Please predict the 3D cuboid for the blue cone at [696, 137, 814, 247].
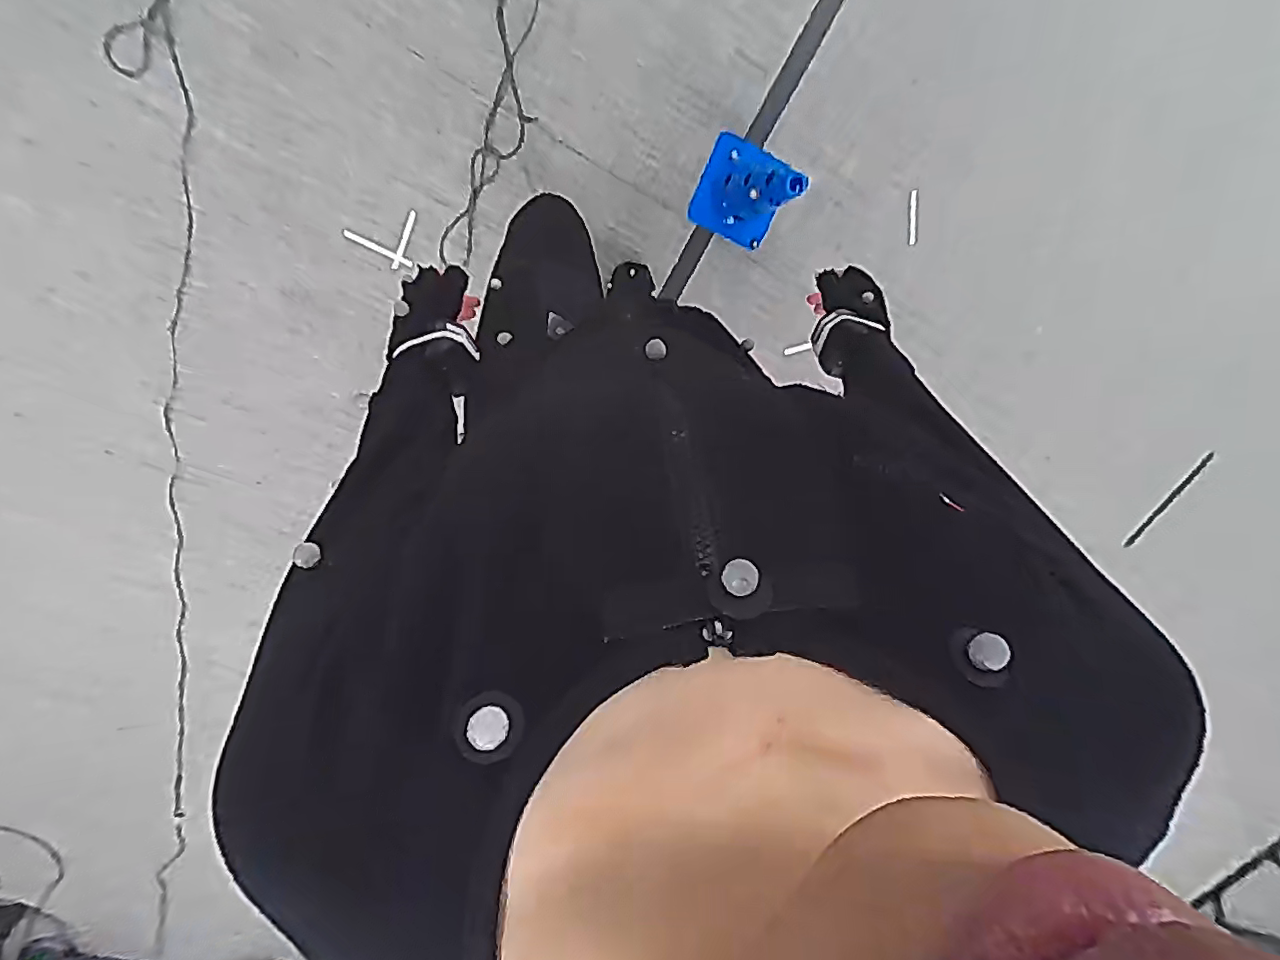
[{"bbox_3d":[0.260,-0.605,1.127,0.192,0.380,0.193,21,111,-17],"label":"blue cone"}]
